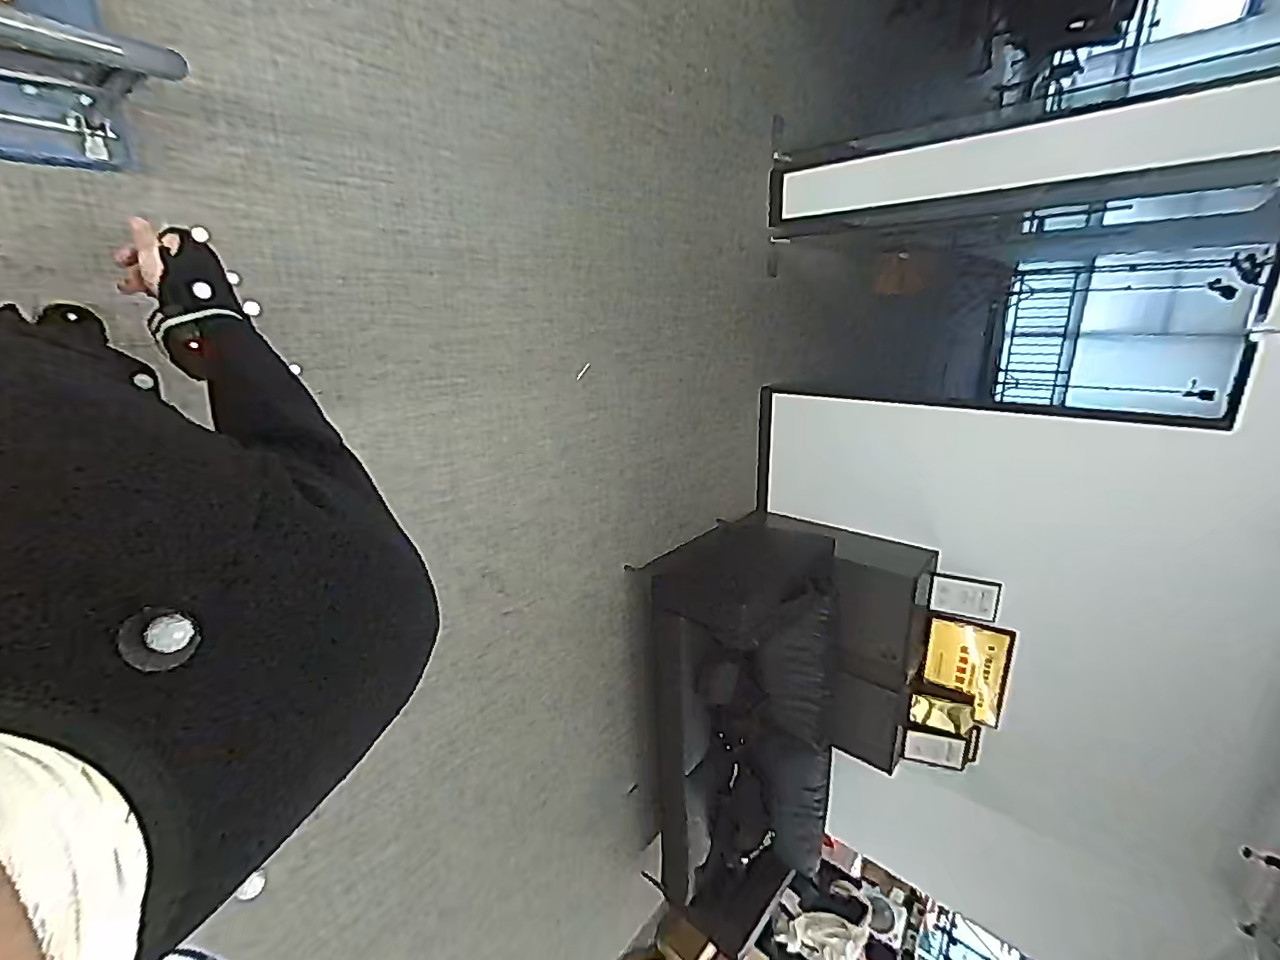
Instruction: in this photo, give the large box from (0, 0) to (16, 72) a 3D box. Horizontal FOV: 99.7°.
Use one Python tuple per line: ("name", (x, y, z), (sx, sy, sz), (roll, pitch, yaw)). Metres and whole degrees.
("large box", (-1.053, -0.805, 0.650), (0.320, 0.320, 0.408), (-21, 115, -45))
